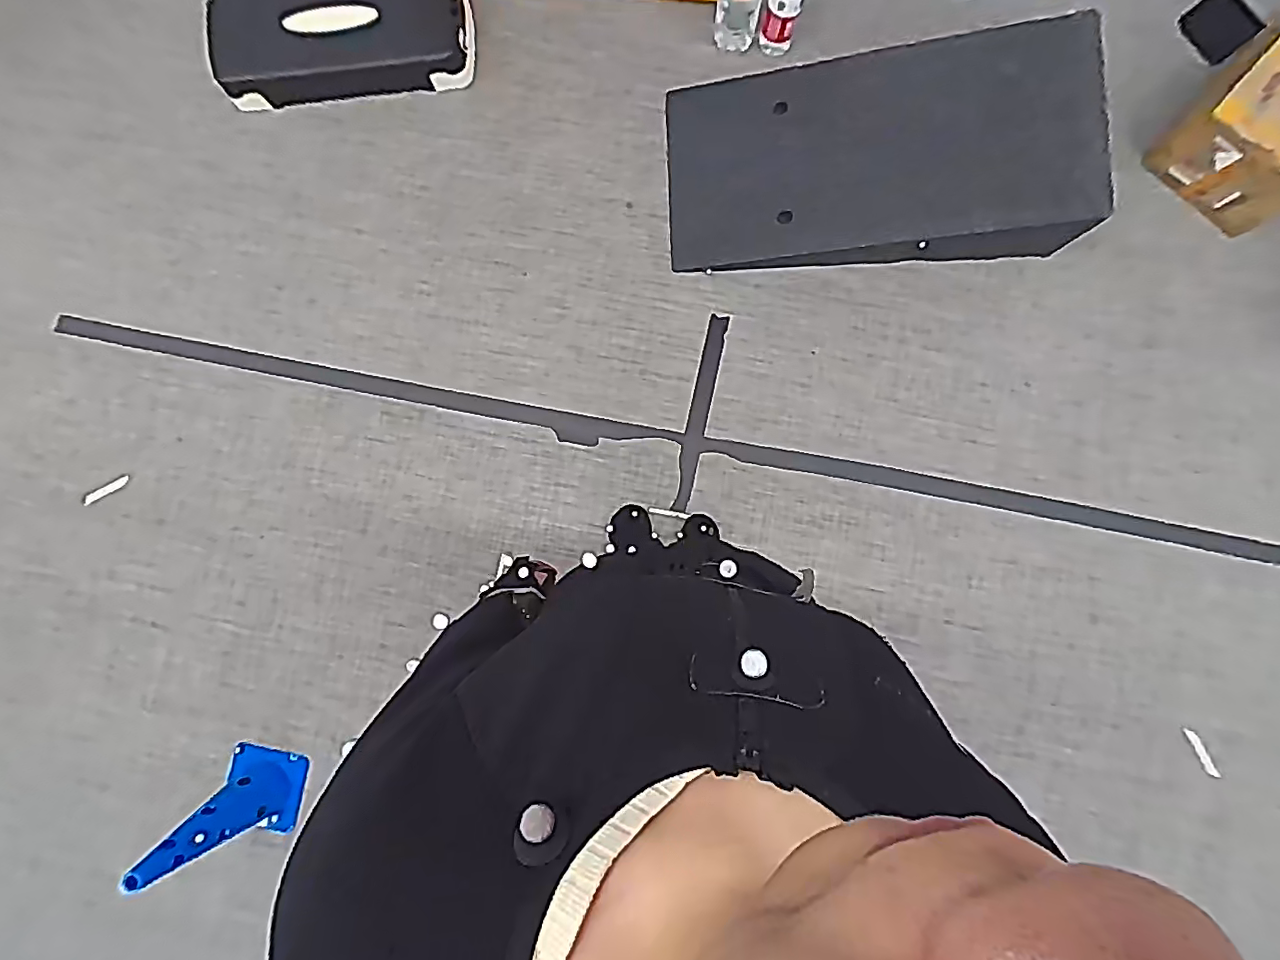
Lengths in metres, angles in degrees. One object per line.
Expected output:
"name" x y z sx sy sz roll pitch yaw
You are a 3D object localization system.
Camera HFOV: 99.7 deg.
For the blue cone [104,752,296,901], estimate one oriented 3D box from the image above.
"blue cone" -0.983 0.792 1.211 0.192 0.380 0.193 13 88 3
